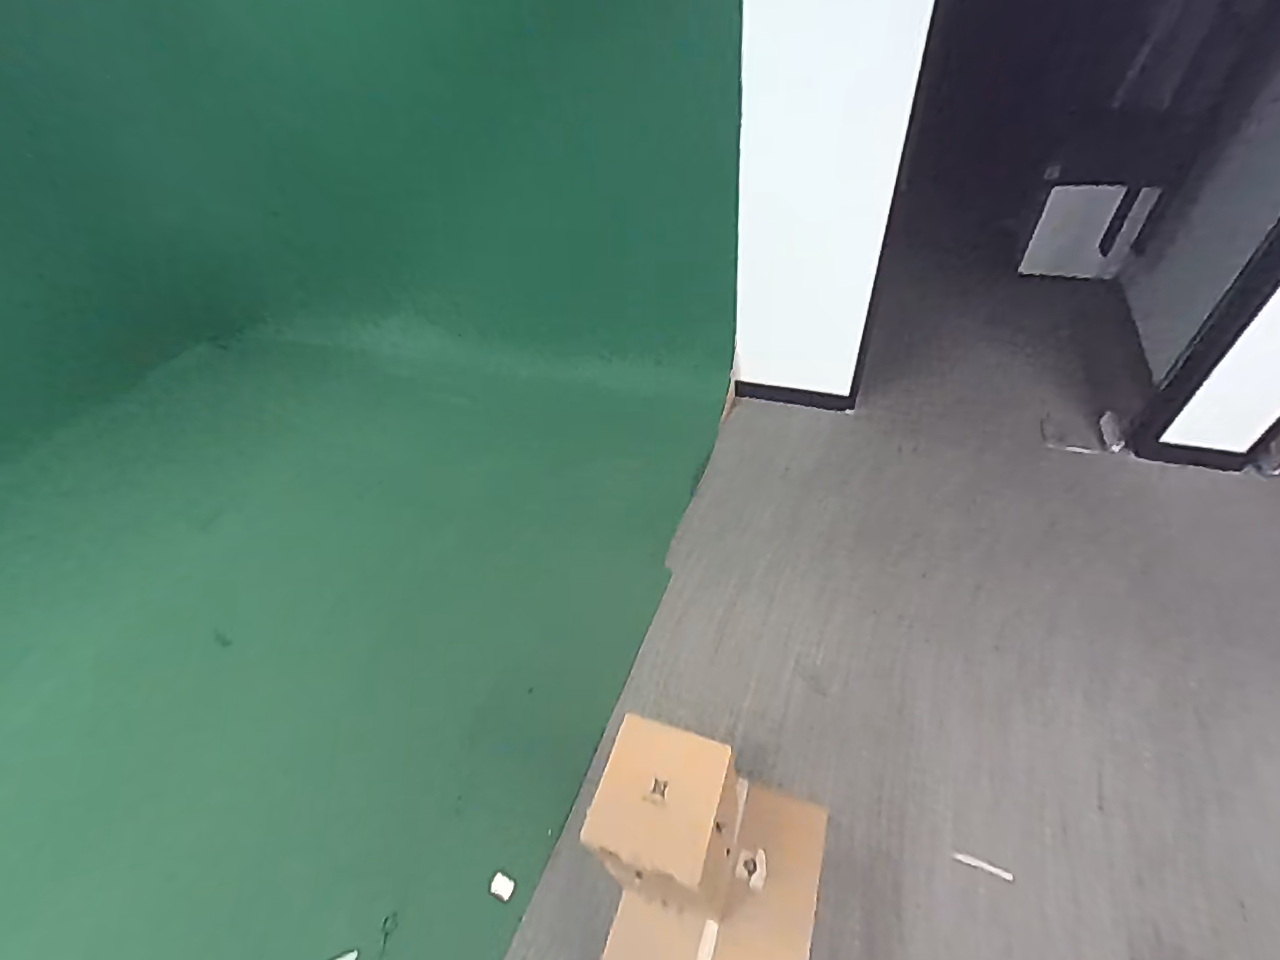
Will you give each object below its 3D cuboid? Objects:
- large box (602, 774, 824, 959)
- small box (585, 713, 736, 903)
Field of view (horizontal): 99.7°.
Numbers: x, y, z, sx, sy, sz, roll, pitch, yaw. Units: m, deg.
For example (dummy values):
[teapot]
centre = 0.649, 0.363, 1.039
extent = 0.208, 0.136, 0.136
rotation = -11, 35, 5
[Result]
[large box]
centre = 0.150, 0.817, 1.025
extent = 0.320, 0.320, 0.408
rotation = 11, 48, 19
[small box]
centre = 0.041, 0.482, 0.796
extent = 0.168, 0.176, 0.179
rotation = 9, 49, 21
